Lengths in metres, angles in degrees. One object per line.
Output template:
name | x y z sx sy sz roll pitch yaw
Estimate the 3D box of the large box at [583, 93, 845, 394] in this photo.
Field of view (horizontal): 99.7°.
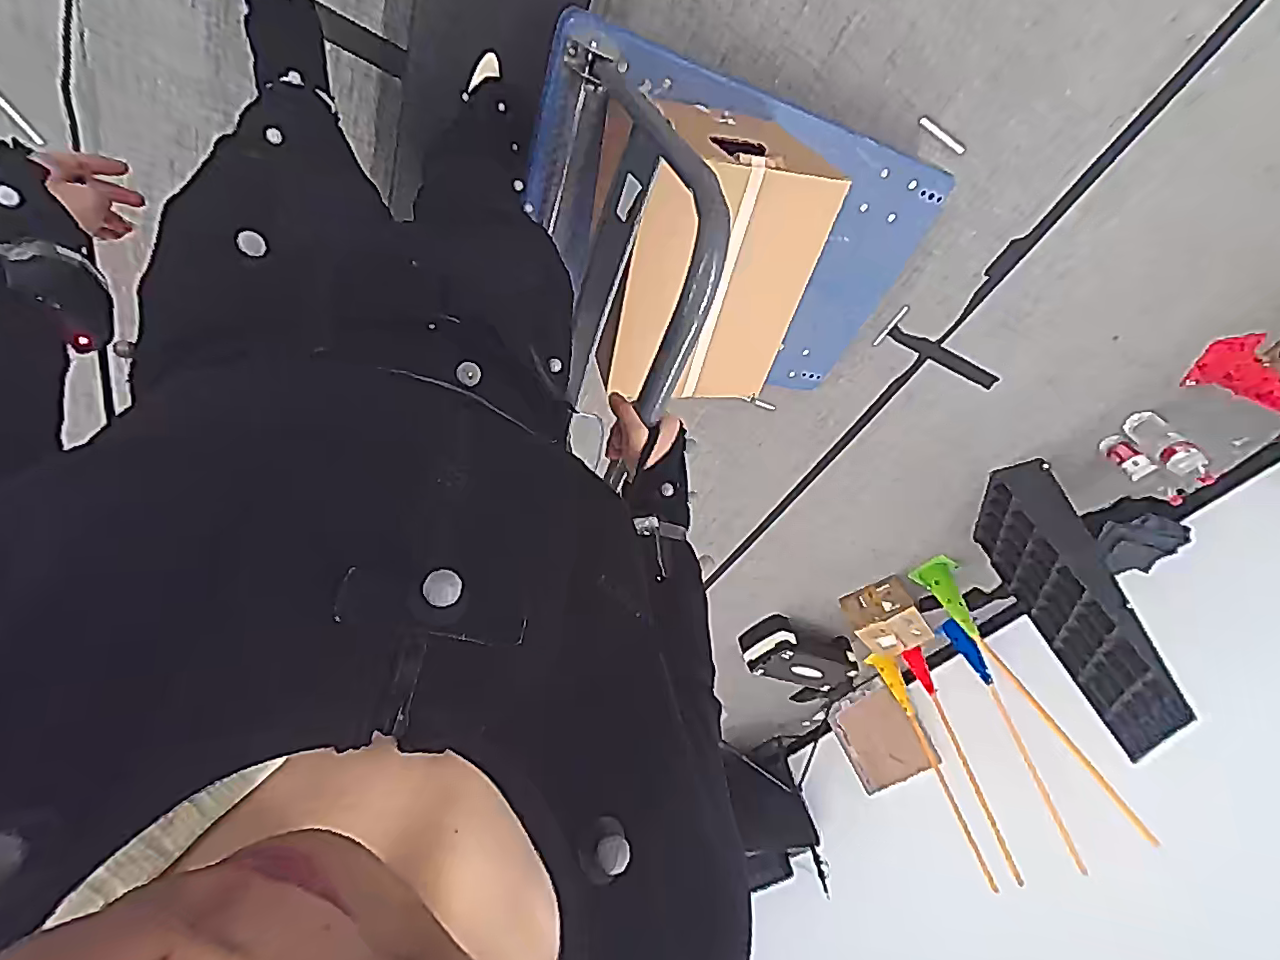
large box | 0.091 -0.412 0.985 0.320 0.320 0.408 -2 138 -17
